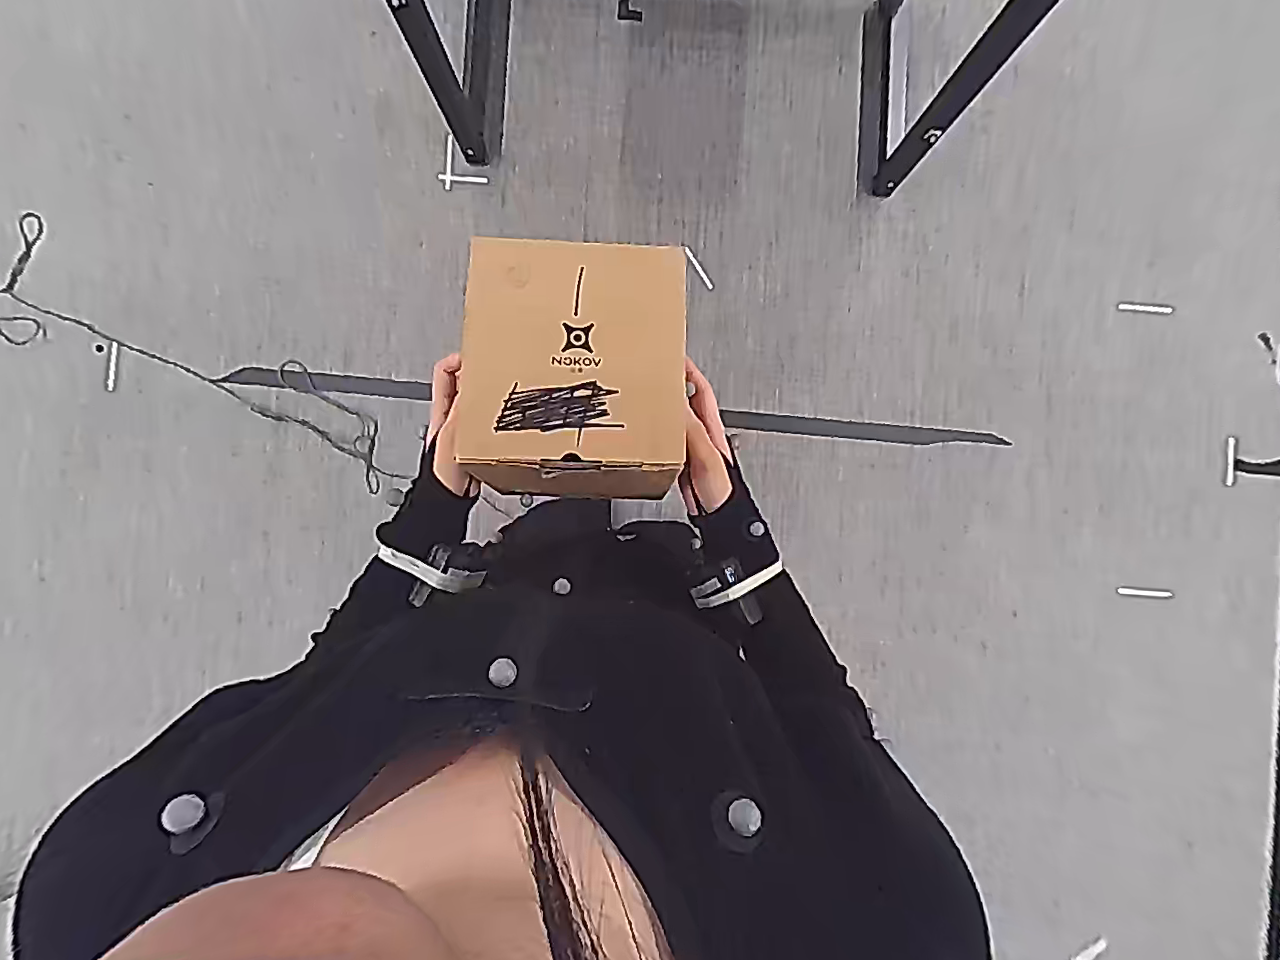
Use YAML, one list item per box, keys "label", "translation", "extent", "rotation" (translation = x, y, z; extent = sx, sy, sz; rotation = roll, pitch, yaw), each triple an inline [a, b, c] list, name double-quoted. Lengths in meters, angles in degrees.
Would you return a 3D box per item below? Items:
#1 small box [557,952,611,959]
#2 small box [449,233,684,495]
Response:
- label: "small box"
  translation: [-0.154, 1.384, 1.397]
  extent: [0.168, 0.176, 0.179]
  rotation: [7, 89, -2]
- label: "small box"
  translation: [-0.054, -0.084, 0.474]
  extent: [0.168, 0.176, 0.179]
  rotation: [2, 79, -4]
